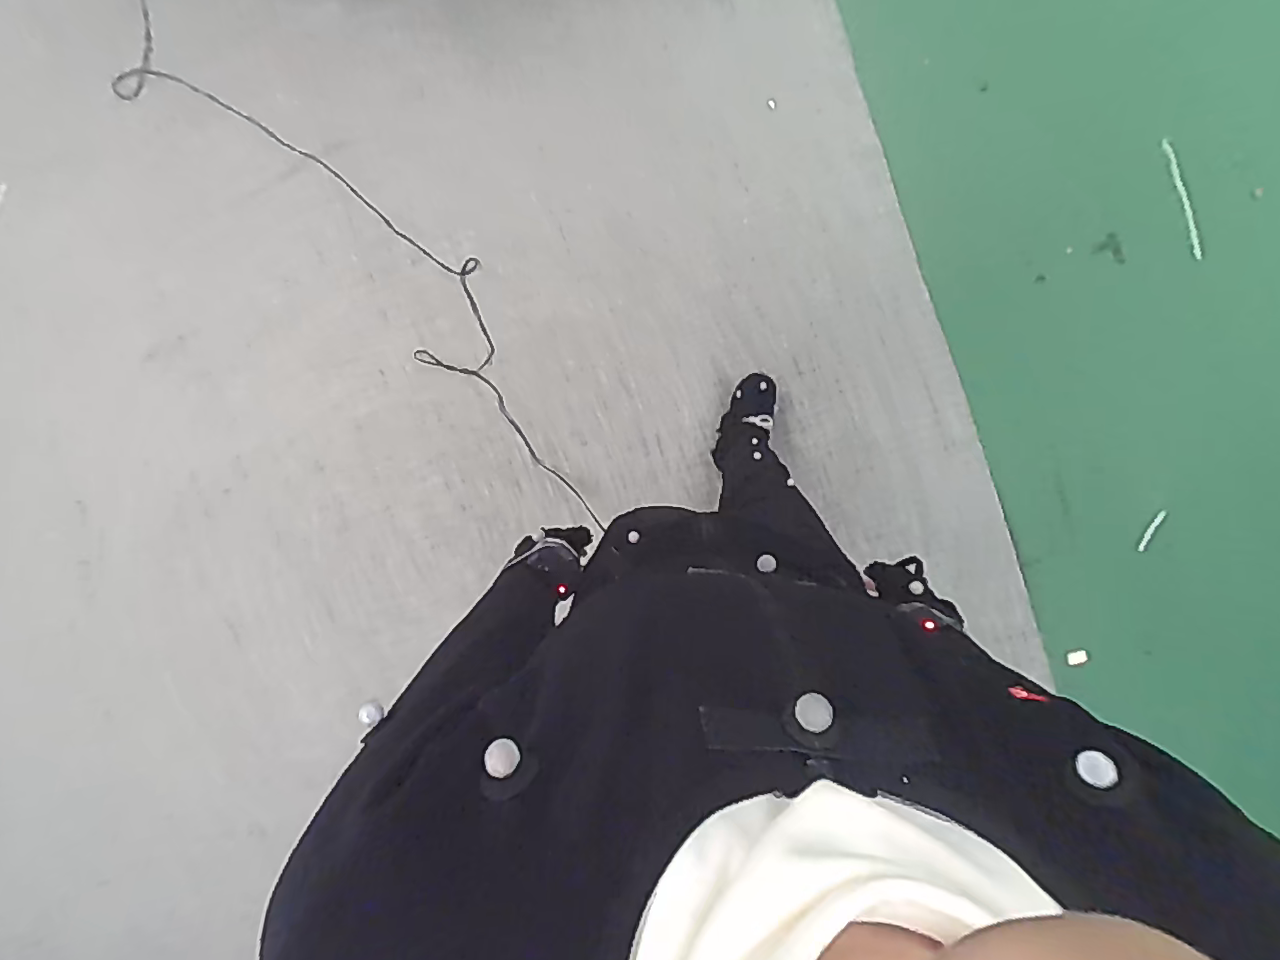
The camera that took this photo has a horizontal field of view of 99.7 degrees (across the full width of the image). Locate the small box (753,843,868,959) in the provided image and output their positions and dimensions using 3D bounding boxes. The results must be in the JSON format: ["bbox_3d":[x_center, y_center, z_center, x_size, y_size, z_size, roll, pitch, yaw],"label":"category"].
[{"bbox_3d":[0.357,0.926,1.163,0.168,0.176,0.179,-24,91,4],"label":"small box"}]

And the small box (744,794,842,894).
[{"bbox_3d":[0.370,0.918,1.341,0.168,0.176,0.179,-22,92,4],"label":"small box"}]
